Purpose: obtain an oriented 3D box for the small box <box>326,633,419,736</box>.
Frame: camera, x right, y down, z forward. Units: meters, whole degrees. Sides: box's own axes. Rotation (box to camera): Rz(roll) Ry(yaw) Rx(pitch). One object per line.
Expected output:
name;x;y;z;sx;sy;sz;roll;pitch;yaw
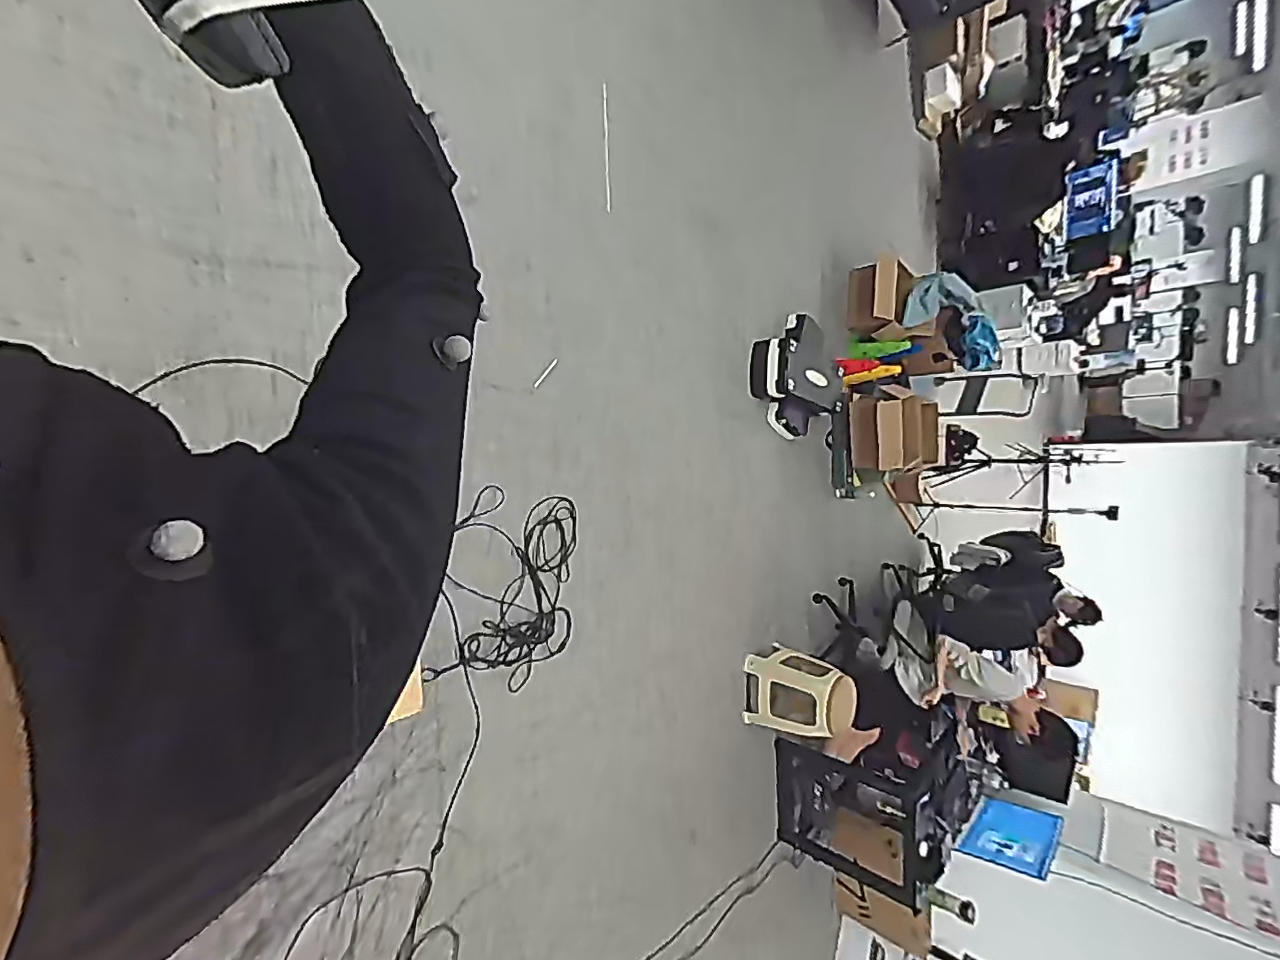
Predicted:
small box;-0.680;0.509;1.374;0.168;0.176;0.179;-6;95;-47
